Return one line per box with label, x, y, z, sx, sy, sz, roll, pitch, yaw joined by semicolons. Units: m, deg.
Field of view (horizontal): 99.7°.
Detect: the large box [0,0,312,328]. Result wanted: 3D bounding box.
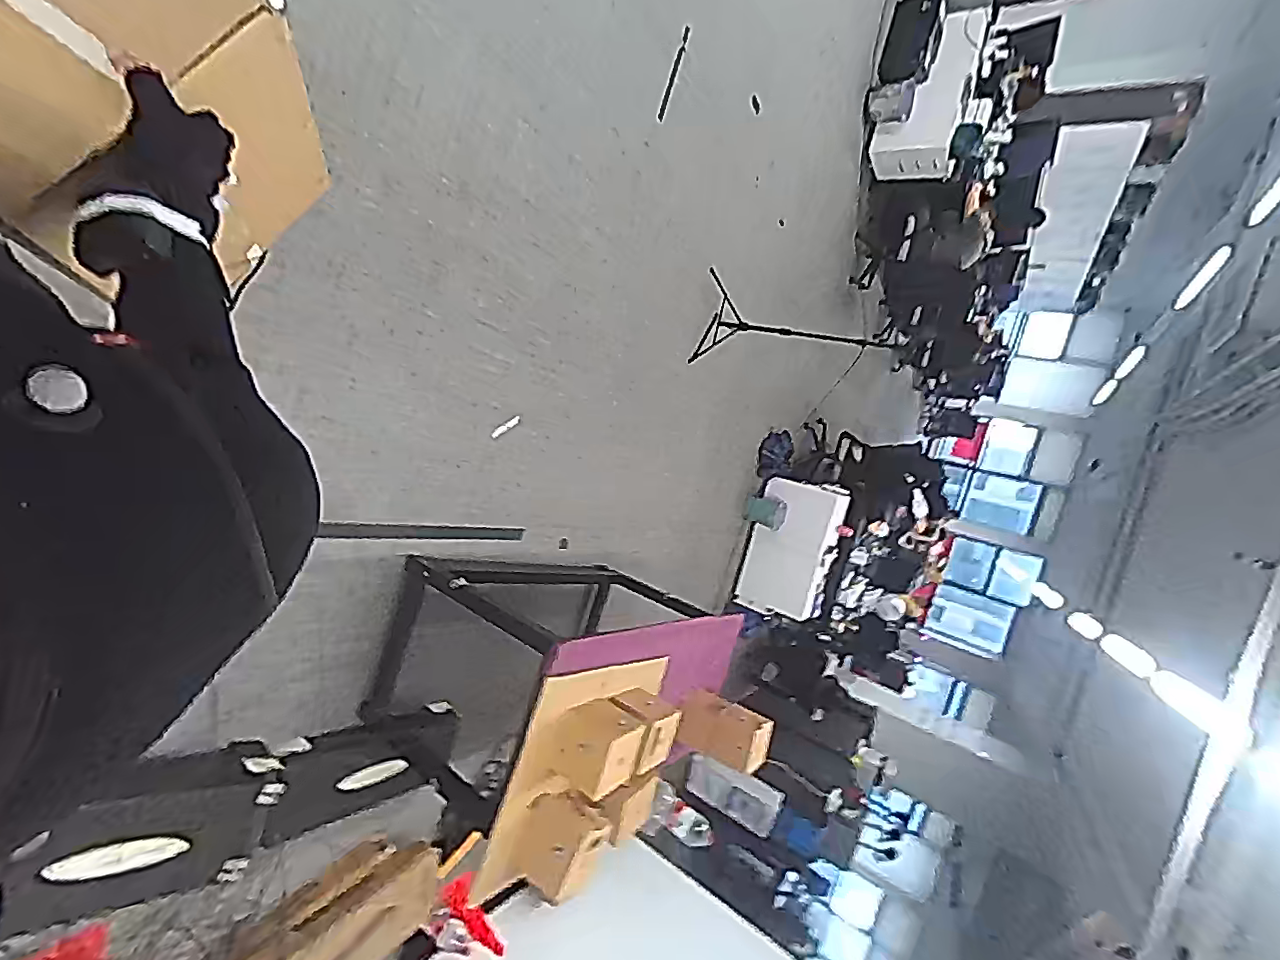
large box;-0.634;-0.431;0.545;0.408;0.320;0.320;36;75;-19
